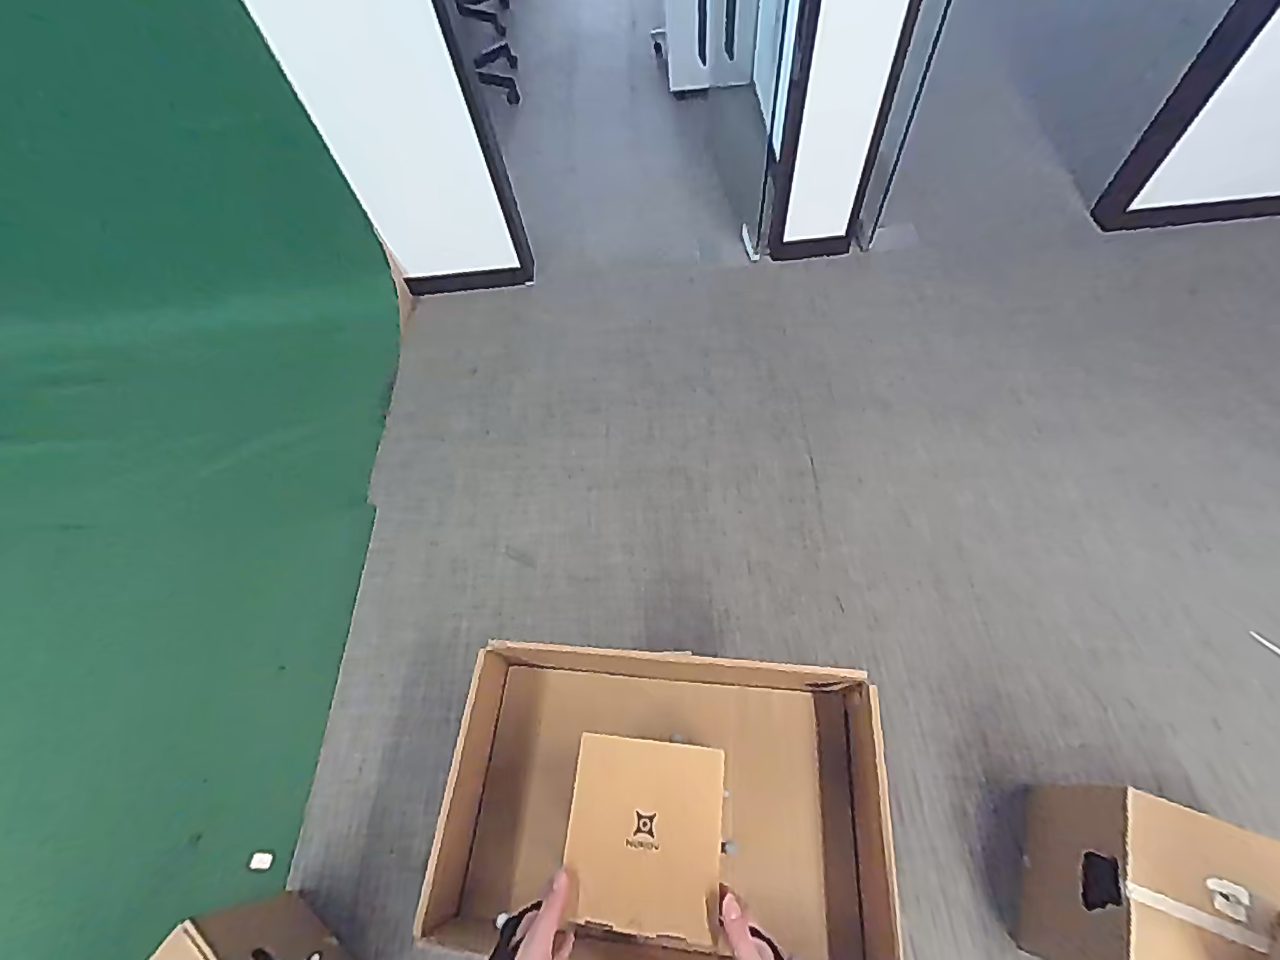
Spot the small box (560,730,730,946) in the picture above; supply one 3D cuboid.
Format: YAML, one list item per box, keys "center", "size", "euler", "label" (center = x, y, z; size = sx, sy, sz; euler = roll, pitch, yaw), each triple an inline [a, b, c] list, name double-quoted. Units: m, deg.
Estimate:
- center: [0.015, 0.408, 0.641]
  size: [0.168, 0.176, 0.179]
  euler: [3, 62, 8]
  label: "small box"

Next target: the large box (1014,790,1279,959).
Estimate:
- center: [0.953, 0.782, 0.936]
  size: [0.408, 0.320, 0.320]
  euler: [17, 63, 15]
  label: "large box"
